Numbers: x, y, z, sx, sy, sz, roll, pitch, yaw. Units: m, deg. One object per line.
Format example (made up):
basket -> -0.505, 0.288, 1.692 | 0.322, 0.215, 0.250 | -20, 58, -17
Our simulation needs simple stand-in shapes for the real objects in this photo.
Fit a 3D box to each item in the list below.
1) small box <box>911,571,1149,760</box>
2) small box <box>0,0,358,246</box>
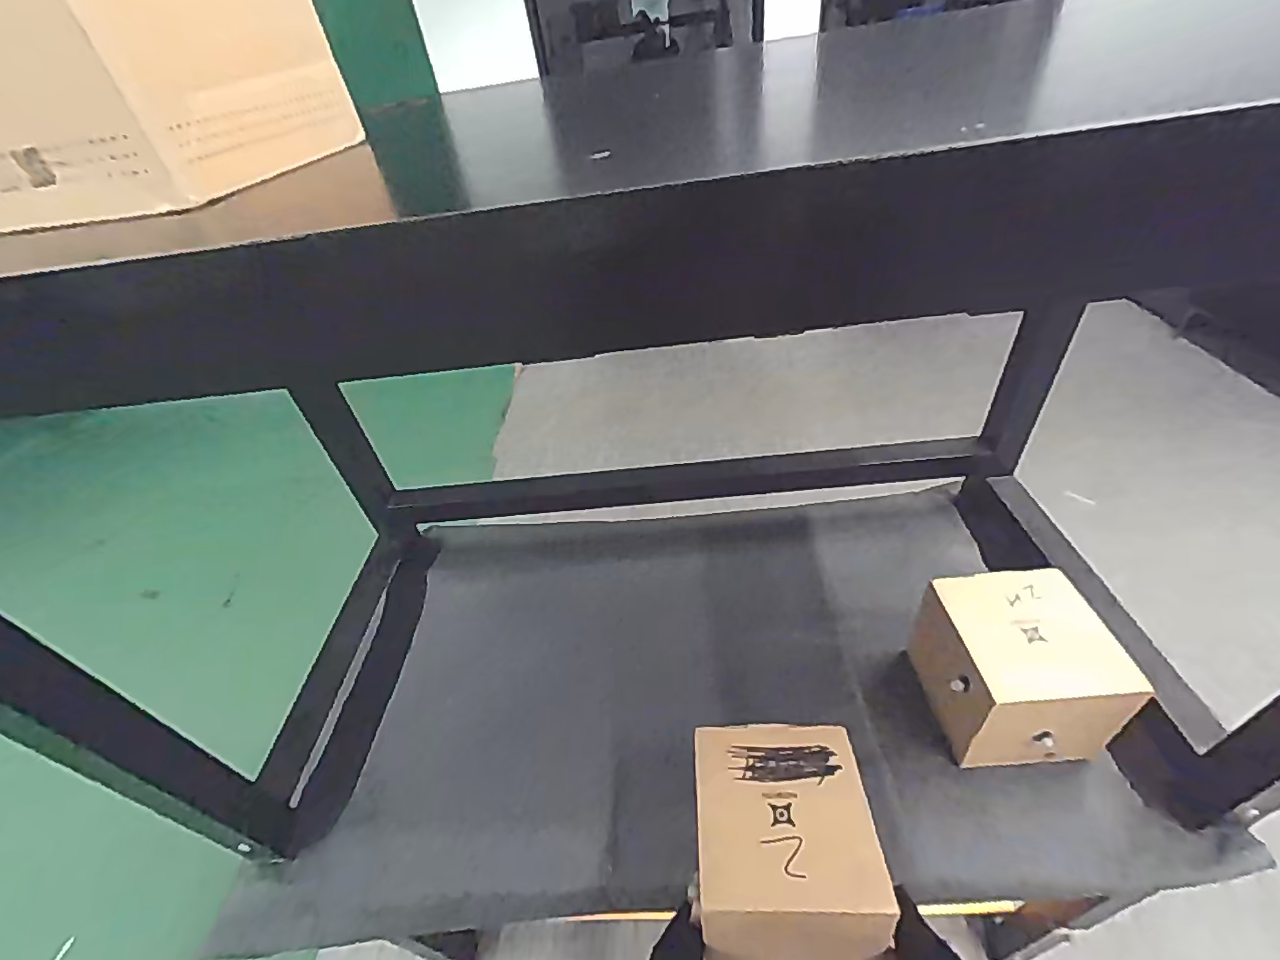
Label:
small box -> 0.477, 0.244, 0.699 | 0.168, 0.176, 0.179 | -6, 39, 4
small box -> -0.279, -0.225, 0.268 | 0.168, 0.176, 0.179 | -2, 40, 8
